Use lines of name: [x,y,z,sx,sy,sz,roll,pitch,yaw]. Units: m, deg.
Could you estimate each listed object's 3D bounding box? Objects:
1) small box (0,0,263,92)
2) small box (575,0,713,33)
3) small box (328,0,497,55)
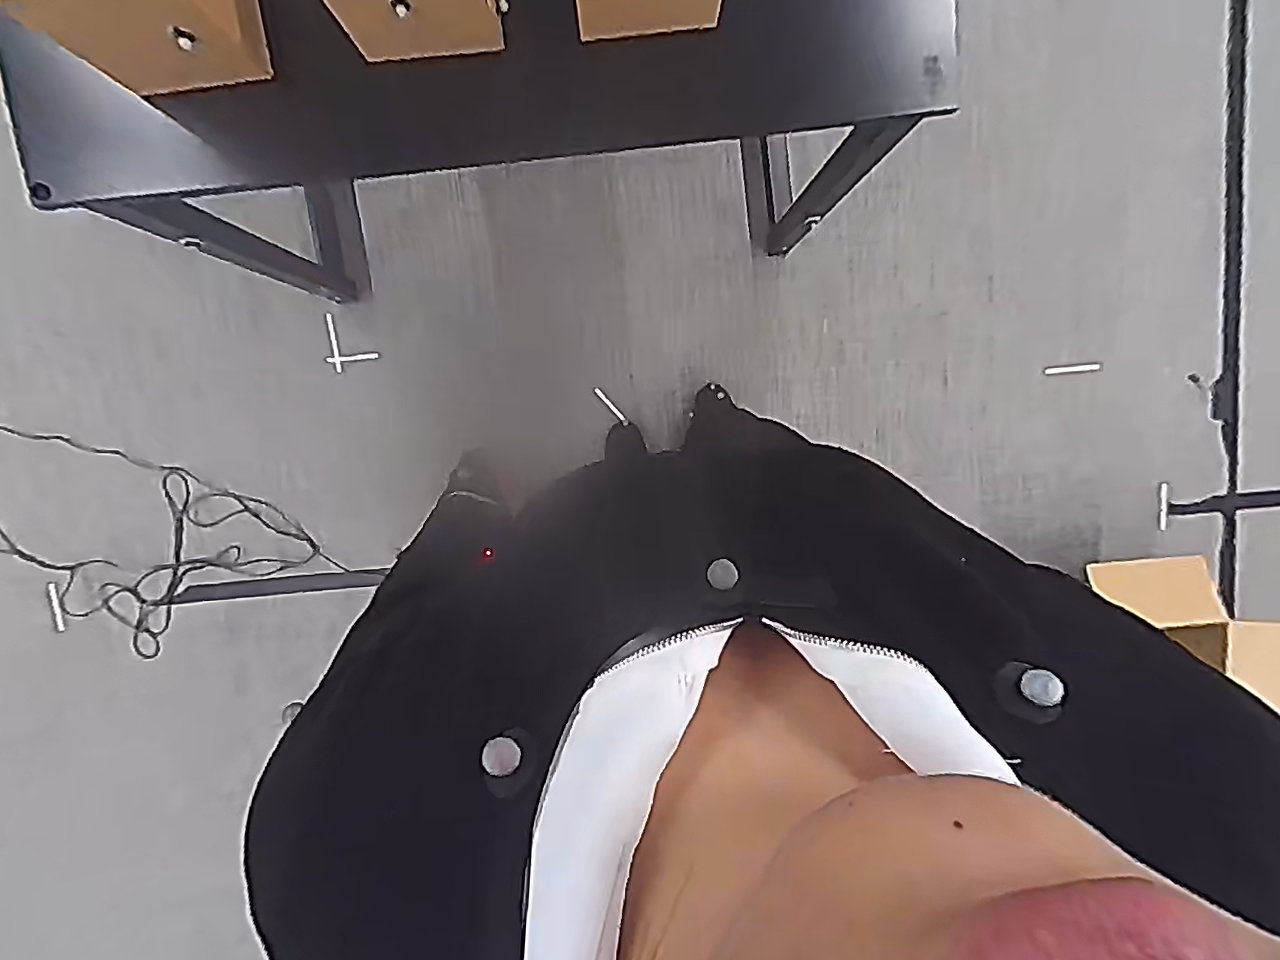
small box: [-0.556,-0.569,0.594,0.179,0.176,0.168,-9,97,0]
small box: [0.004,-0.644,0.597,0.179,0.176,0.168,-7,97,0]
small box: [-0.265,-0.612,0.595,0.179,0.176,0.168,-6,97,0]
